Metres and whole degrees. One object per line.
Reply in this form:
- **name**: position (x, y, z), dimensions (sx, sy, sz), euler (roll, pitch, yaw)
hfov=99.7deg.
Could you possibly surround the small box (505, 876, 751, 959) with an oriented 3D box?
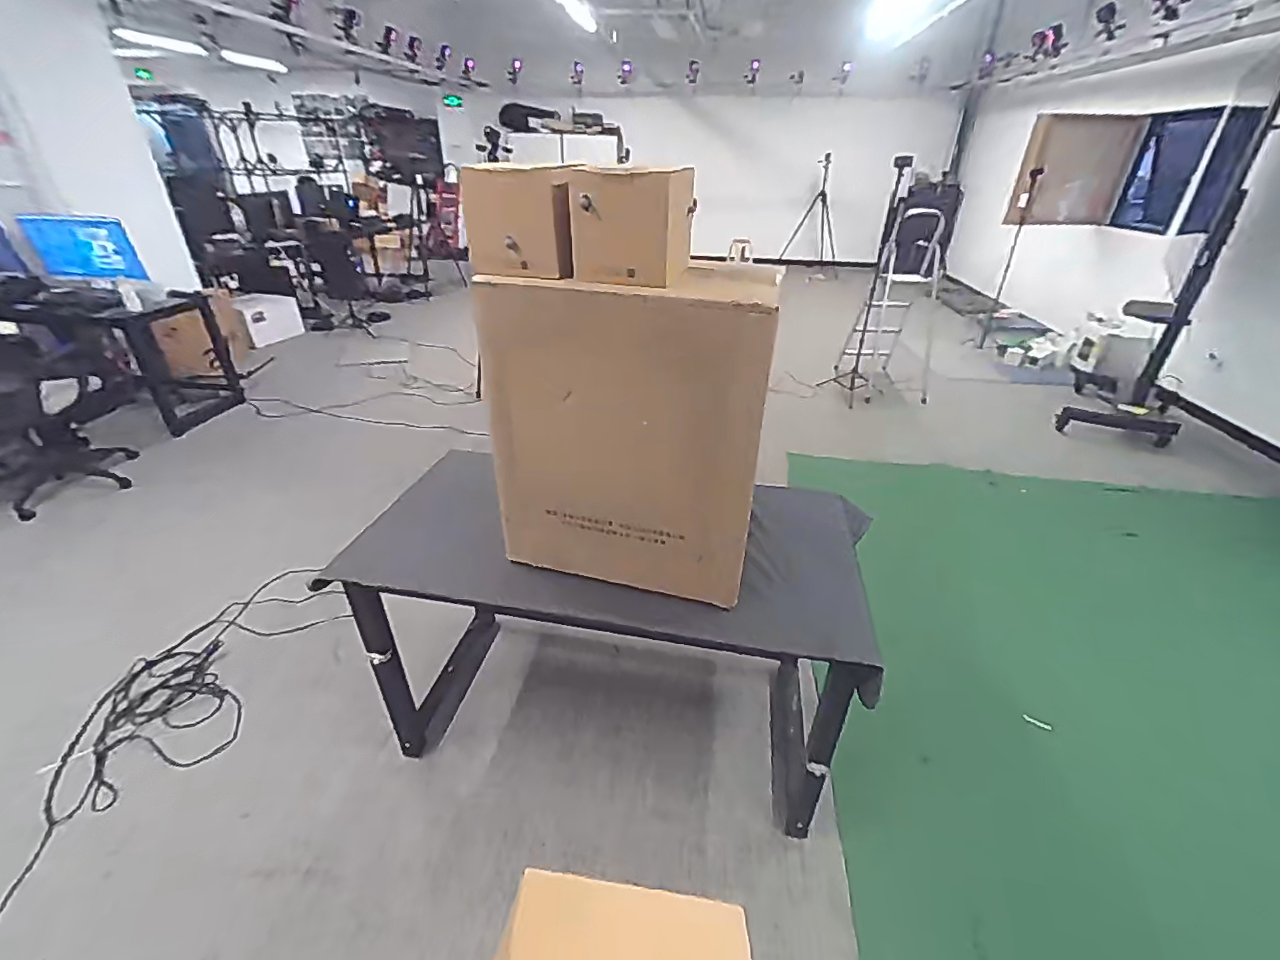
- **small box**: position (-0.024, 0.406, 0.343), dimensions (0.168, 0.176, 0.179), euler (14, 22, -6)

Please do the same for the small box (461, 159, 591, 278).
- **small box**: position (-0.190, -0.467, 0.958), dimensions (0.168, 0.176, 0.179), euler (8, 33, 13)
